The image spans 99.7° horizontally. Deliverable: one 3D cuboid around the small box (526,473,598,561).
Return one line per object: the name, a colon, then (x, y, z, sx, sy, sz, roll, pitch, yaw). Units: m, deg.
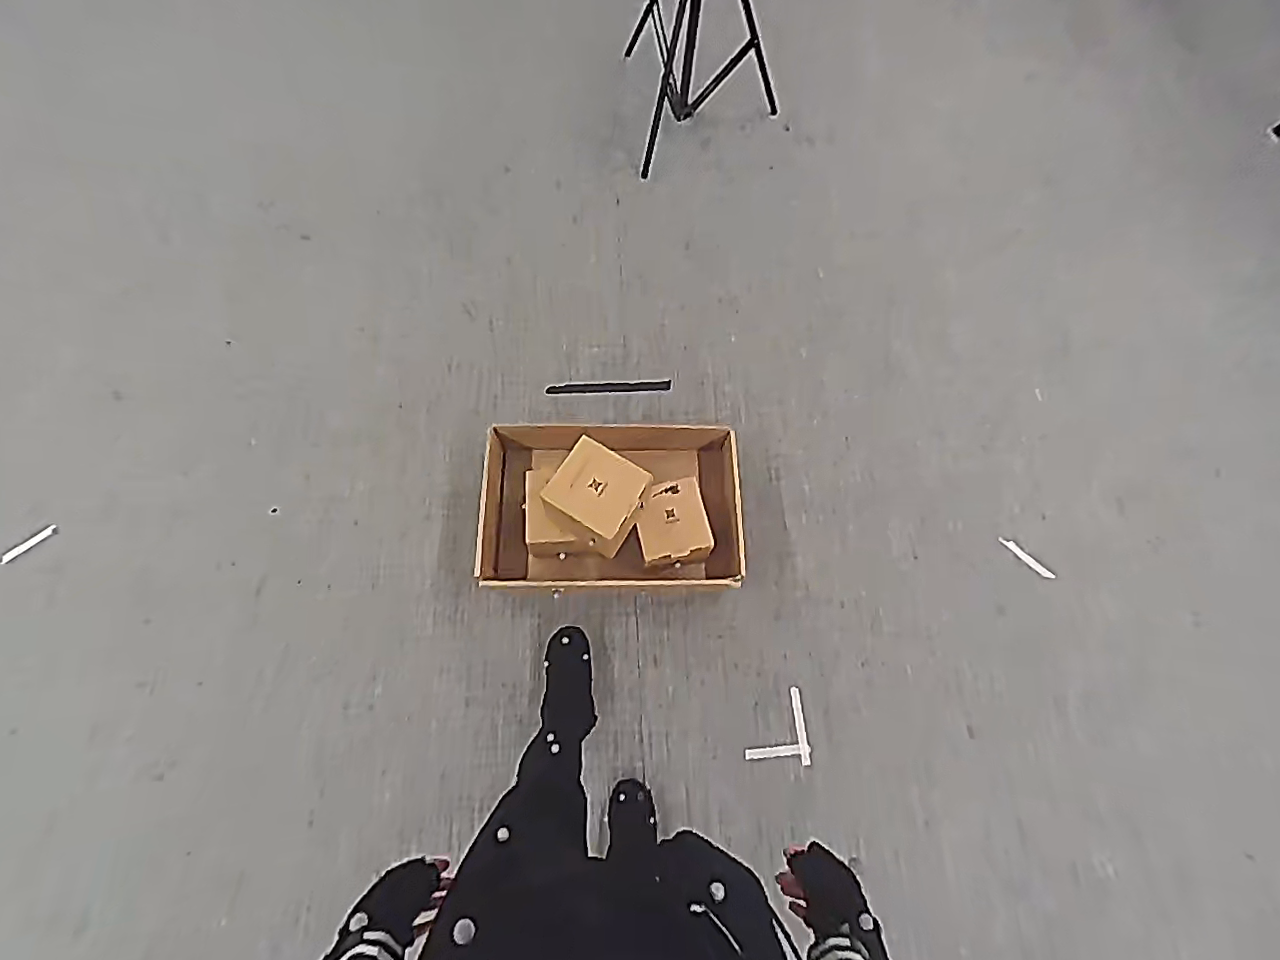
small box: (-0.185, 0.093, 1.317, 0.168, 0.176, 0.179, -2, 71, -5)

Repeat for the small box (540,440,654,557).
small box: (-0.090, 0.049, 1.166, 0.179, 0.176, 0.168, 30, 69, 9)
